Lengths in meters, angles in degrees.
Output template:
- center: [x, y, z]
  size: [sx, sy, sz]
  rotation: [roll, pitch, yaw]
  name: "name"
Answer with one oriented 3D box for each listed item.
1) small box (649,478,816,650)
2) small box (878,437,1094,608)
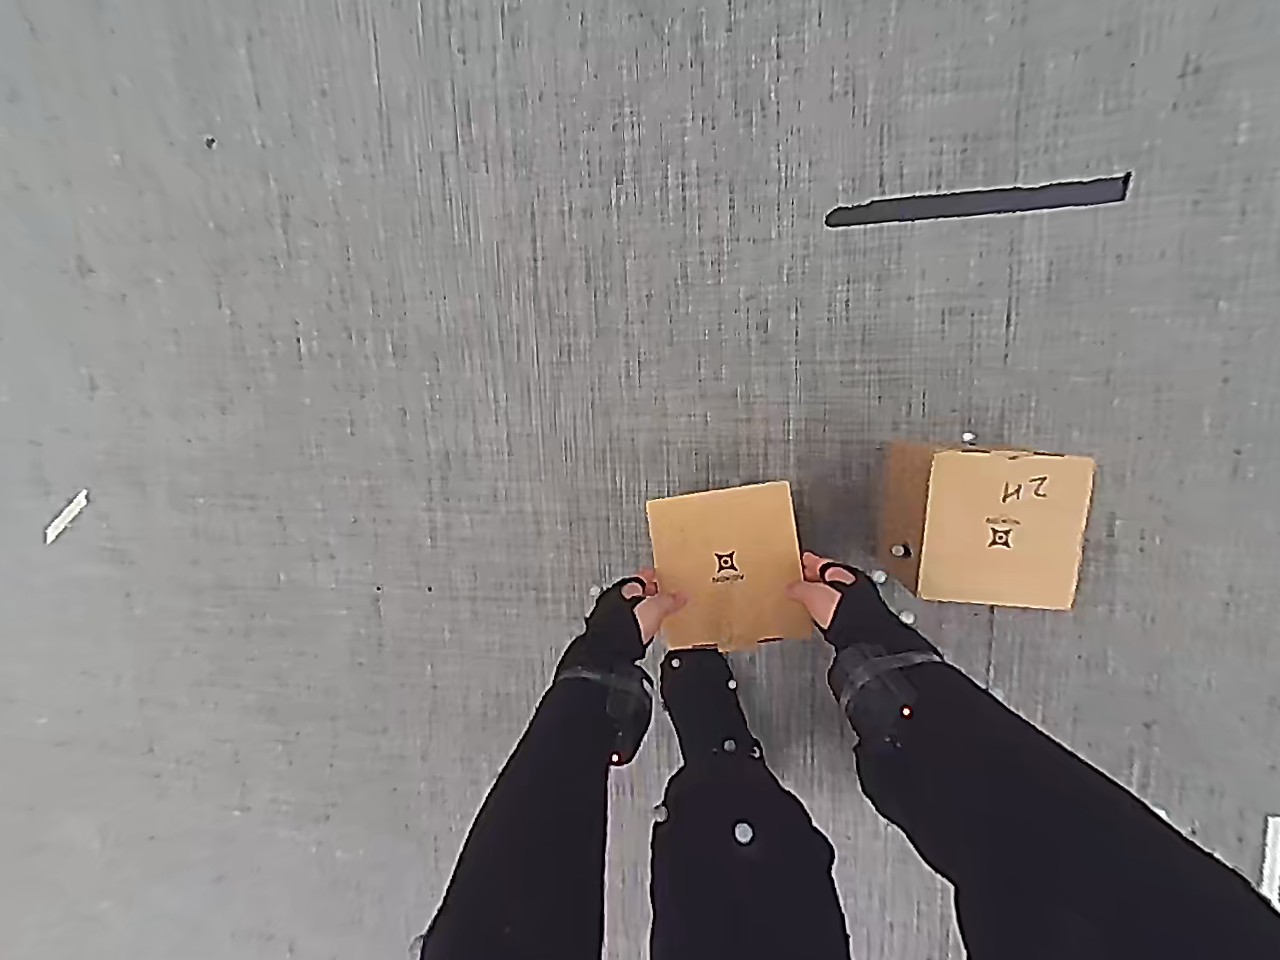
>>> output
- center: [0.116, 0.100, 0.678]
  size: [0.168, 0.176, 0.179]
  rotation: [-10, 85, 12]
  name: "small box"
- center: [0.411, 0.042, 0.677]
  size: [0.168, 0.176, 0.179]
  rotation: [3, 97, 7]
  name: "small box"
